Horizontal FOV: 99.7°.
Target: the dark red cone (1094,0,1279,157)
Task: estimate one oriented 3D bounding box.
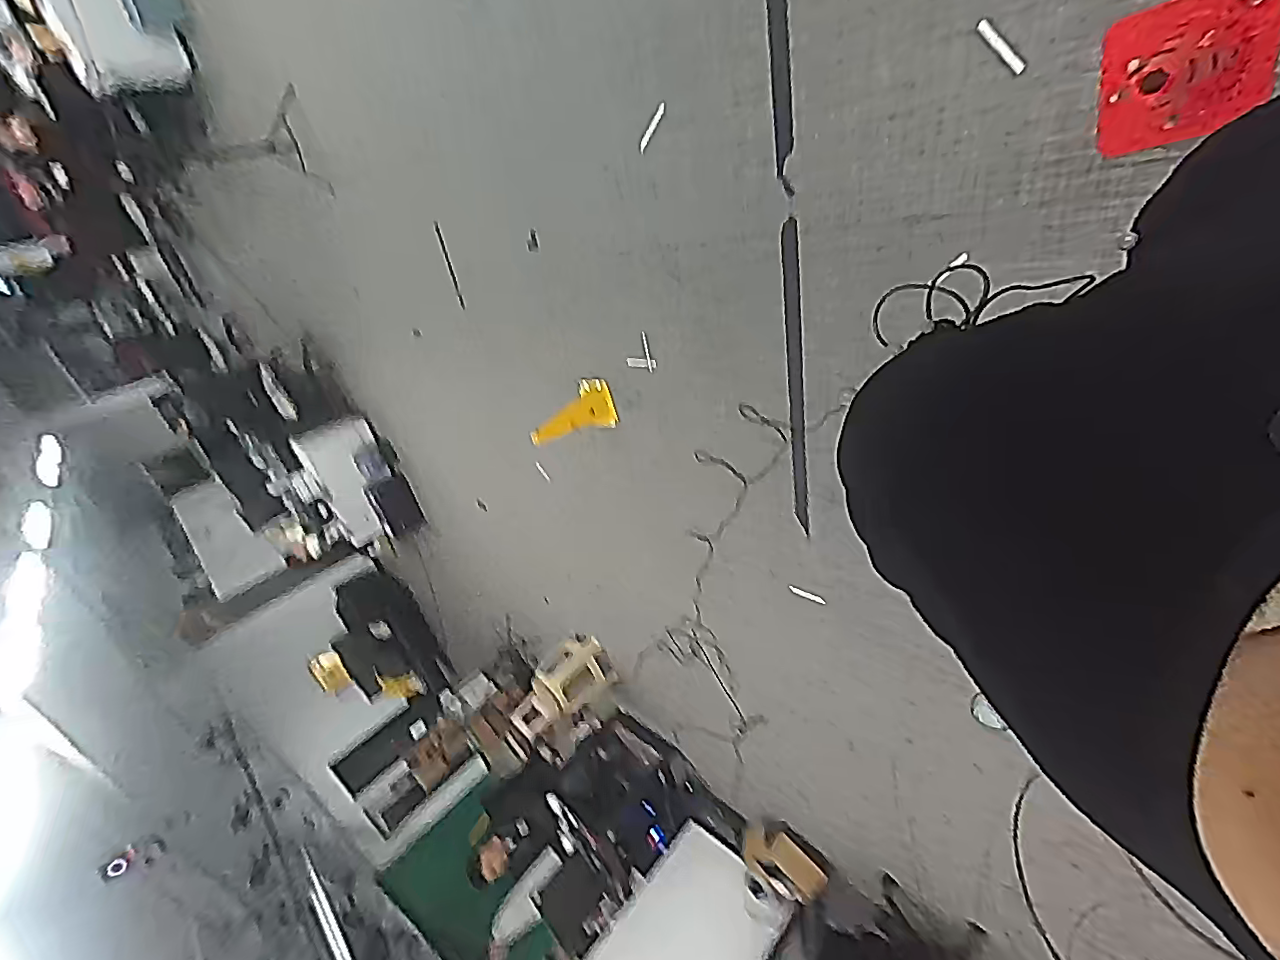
[{"bbox_3d":[0.709,-0.550,0.733,0.201,0.394,0.202,10,126,48],"label":"dark red cone"}]
